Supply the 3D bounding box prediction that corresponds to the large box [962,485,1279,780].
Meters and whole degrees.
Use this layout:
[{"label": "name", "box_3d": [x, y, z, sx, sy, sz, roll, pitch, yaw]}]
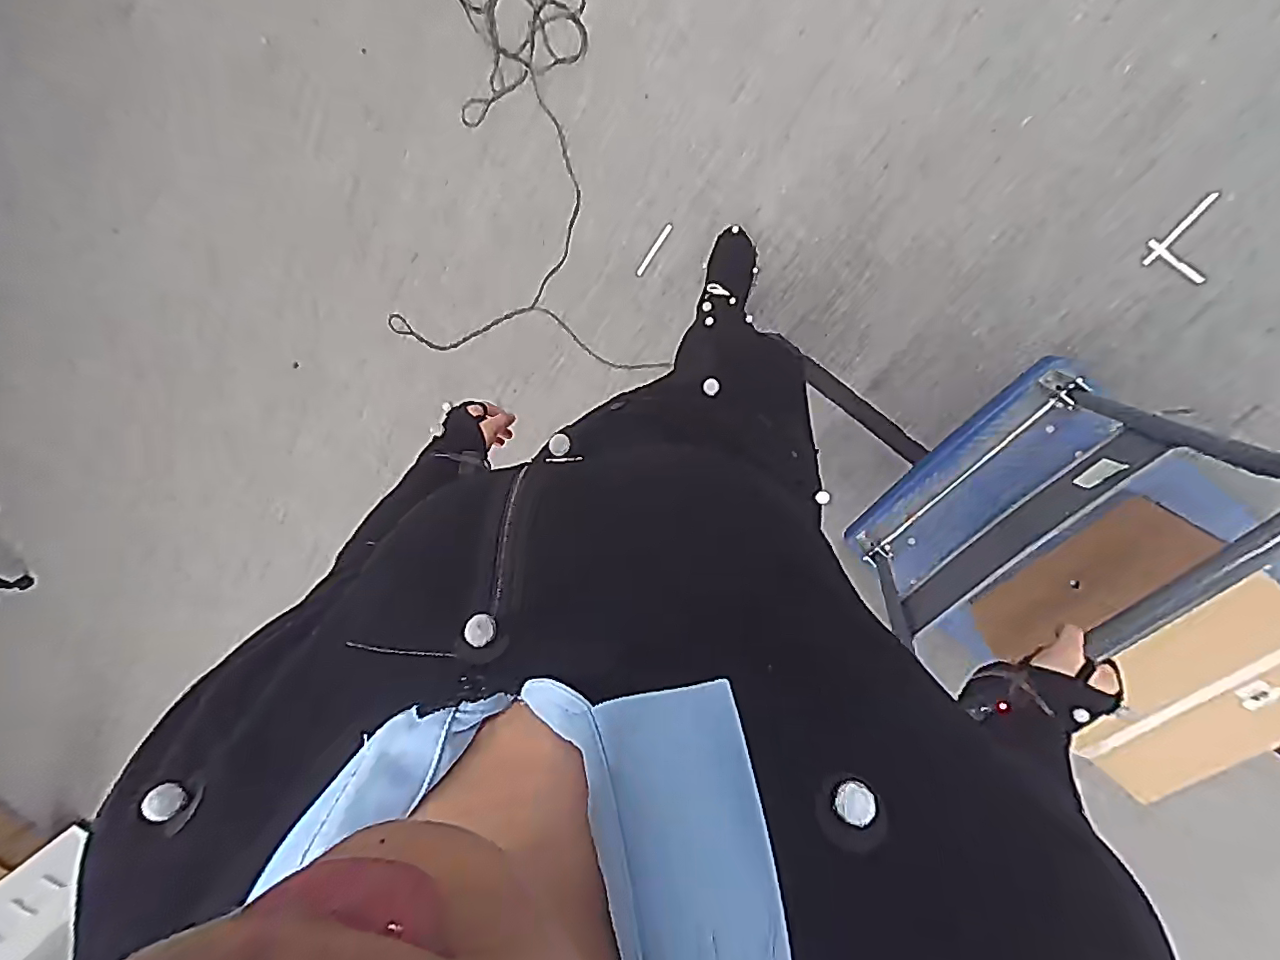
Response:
[{"label": "large box", "box_3d": [0.952, 0.285, 1.071, 0.320, 0.320, 0.408, 40, 113, -2]}]
